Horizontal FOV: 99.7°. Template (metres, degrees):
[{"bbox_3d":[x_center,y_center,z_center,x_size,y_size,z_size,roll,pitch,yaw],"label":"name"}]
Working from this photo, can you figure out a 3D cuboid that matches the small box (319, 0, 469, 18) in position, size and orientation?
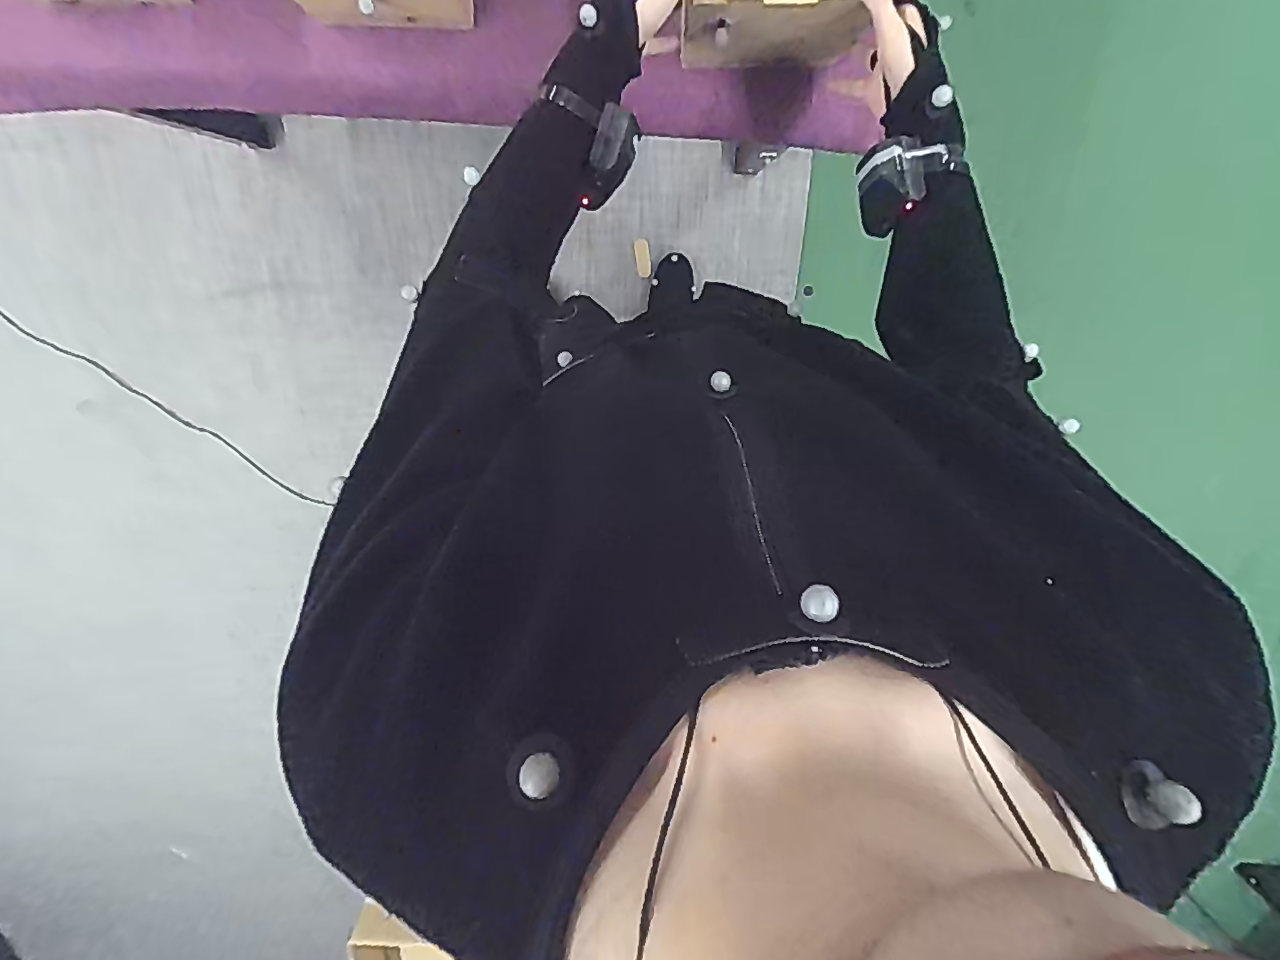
[{"bbox_3d":[-0.255,-0.538,0.466,0.168,0.176,0.179,3,111,0],"label":"small box"}]
